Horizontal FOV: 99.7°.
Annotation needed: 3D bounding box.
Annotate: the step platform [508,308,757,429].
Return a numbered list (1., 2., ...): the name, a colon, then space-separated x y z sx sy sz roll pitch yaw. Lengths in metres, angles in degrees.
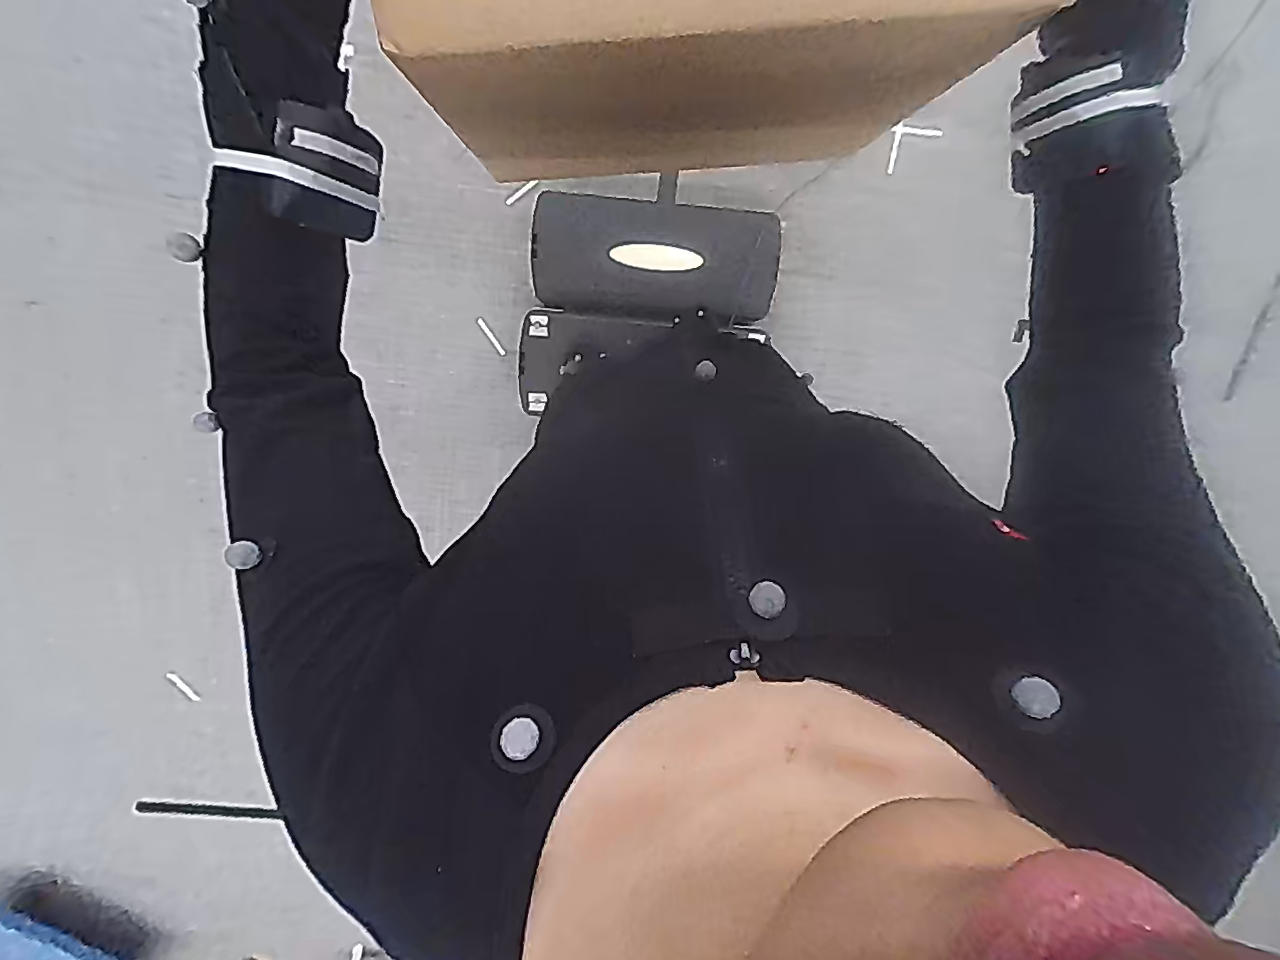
1. step platform: -0.020 -0.310 1.516 0.684 0.204 0.286 4 106 -3

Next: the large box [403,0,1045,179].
1. large box: 0.037 -0.460 0.426 0.408 0.320 0.320 -5 107 -2
